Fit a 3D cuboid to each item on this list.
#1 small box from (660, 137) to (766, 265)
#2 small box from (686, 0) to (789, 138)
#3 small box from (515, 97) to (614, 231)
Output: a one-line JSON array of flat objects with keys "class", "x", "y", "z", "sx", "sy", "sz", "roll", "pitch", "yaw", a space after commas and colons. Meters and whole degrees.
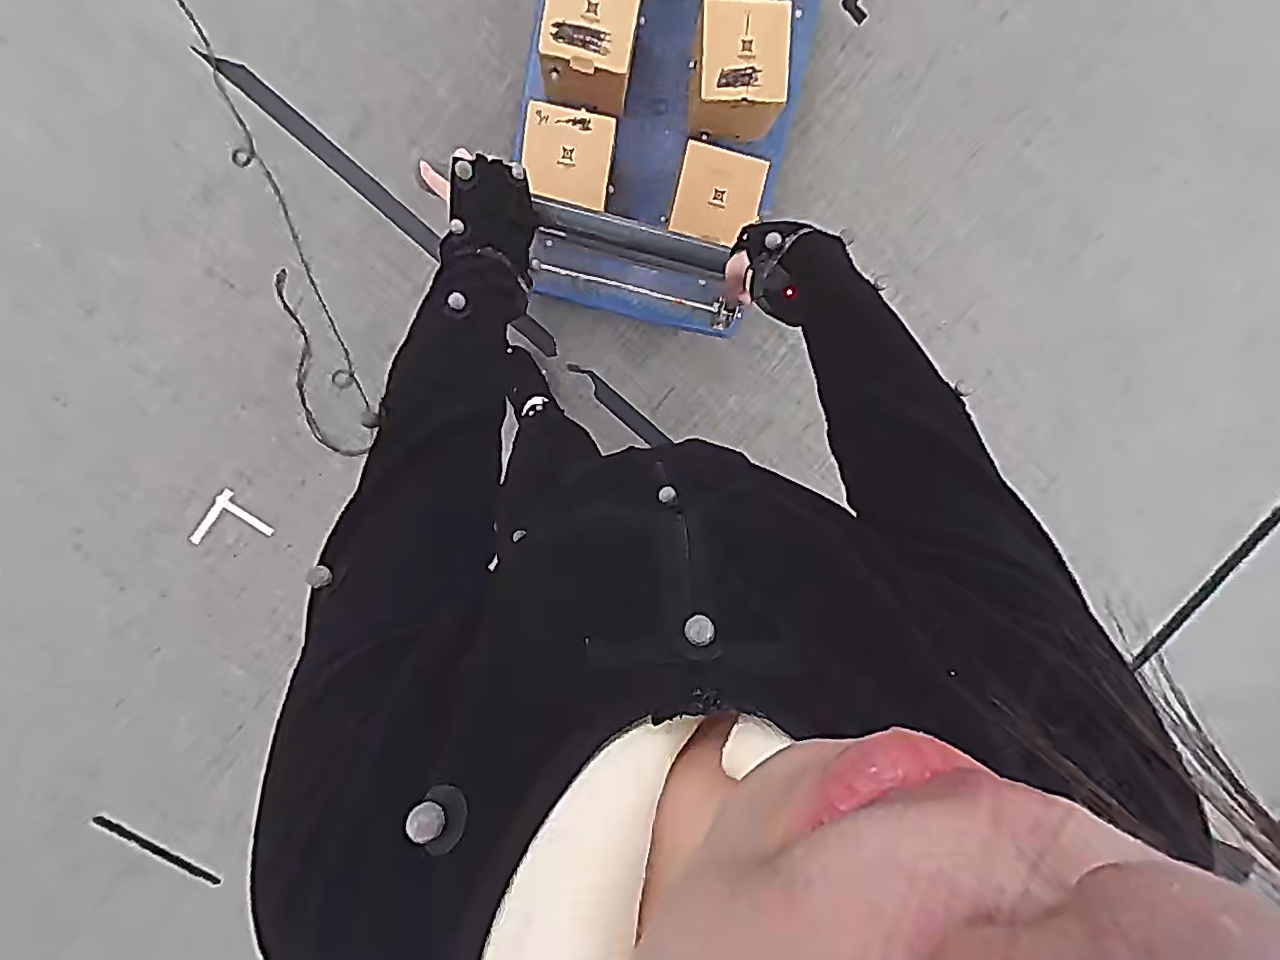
[{"class": "small box", "x": 0.142, "y": -0.568, "z": 1.130, "sx": 0.168, "sy": 0.176, "sz": 0.179, "roll": 12, "pitch": 98, "yaw": -7}, {"class": "small box", "x": 0.187, "y": -0.819, "z": 1.088, "sx": 0.168, "sy": 0.176, "sz": 0.179, "roll": 0, "pitch": 99, "yaw": -5}, {"class": "small box", "x": -0.148, "y": -0.624, "z": 1.094, "sx": 0.168, "sy": 0.176, "sz": 0.179, "roll": 9, "pitch": 100, "yaw": -7}]
